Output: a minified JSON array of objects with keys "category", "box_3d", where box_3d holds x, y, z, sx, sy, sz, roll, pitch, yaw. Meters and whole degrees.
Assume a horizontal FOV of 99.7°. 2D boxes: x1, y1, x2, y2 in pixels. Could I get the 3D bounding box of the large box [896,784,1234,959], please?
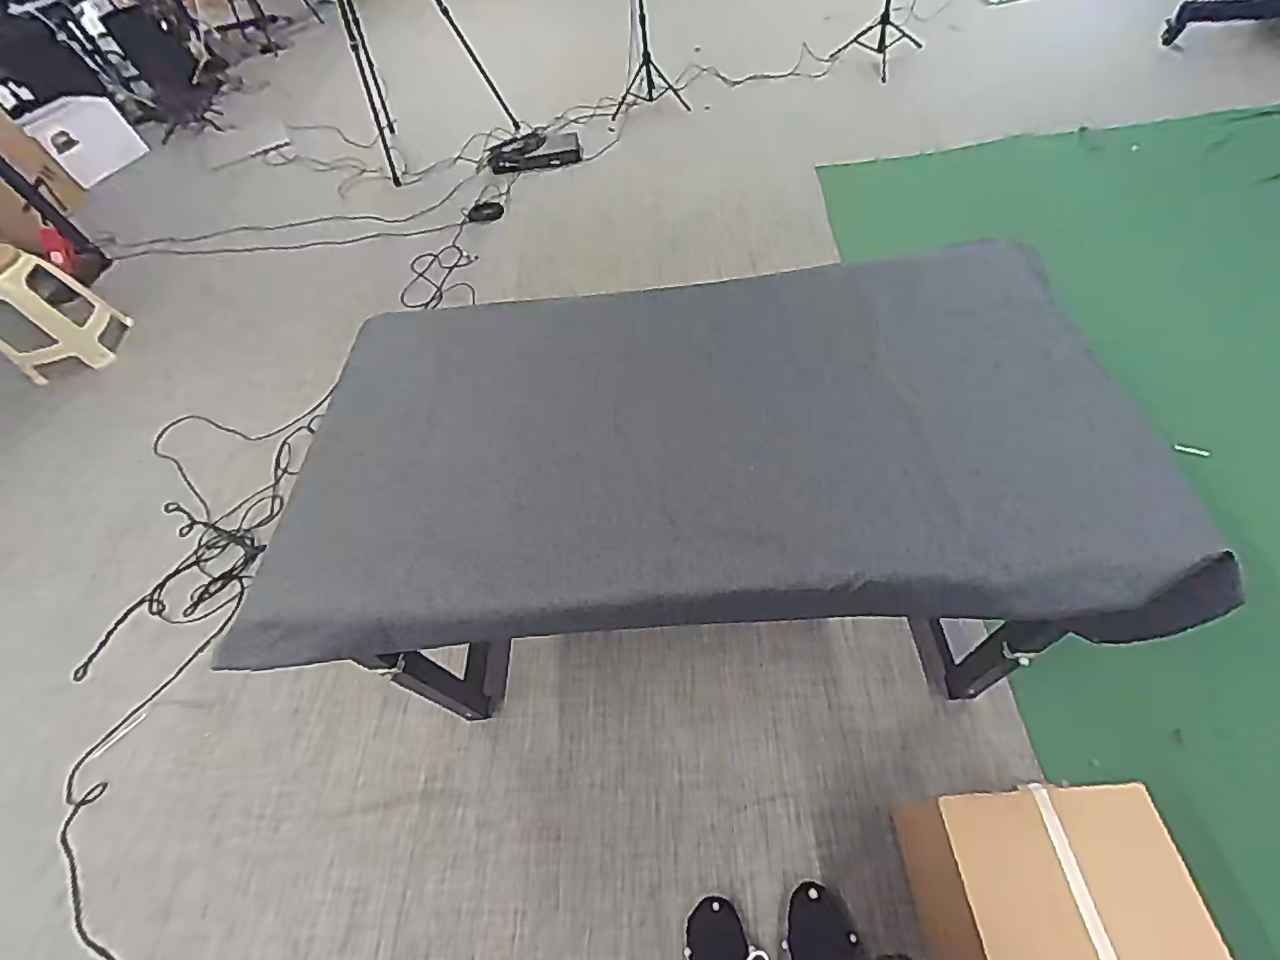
[{"category":"large box","box_3d":[0.658,0.734,0.854,0.320,0.320,0.408,-7,54,5]}]
